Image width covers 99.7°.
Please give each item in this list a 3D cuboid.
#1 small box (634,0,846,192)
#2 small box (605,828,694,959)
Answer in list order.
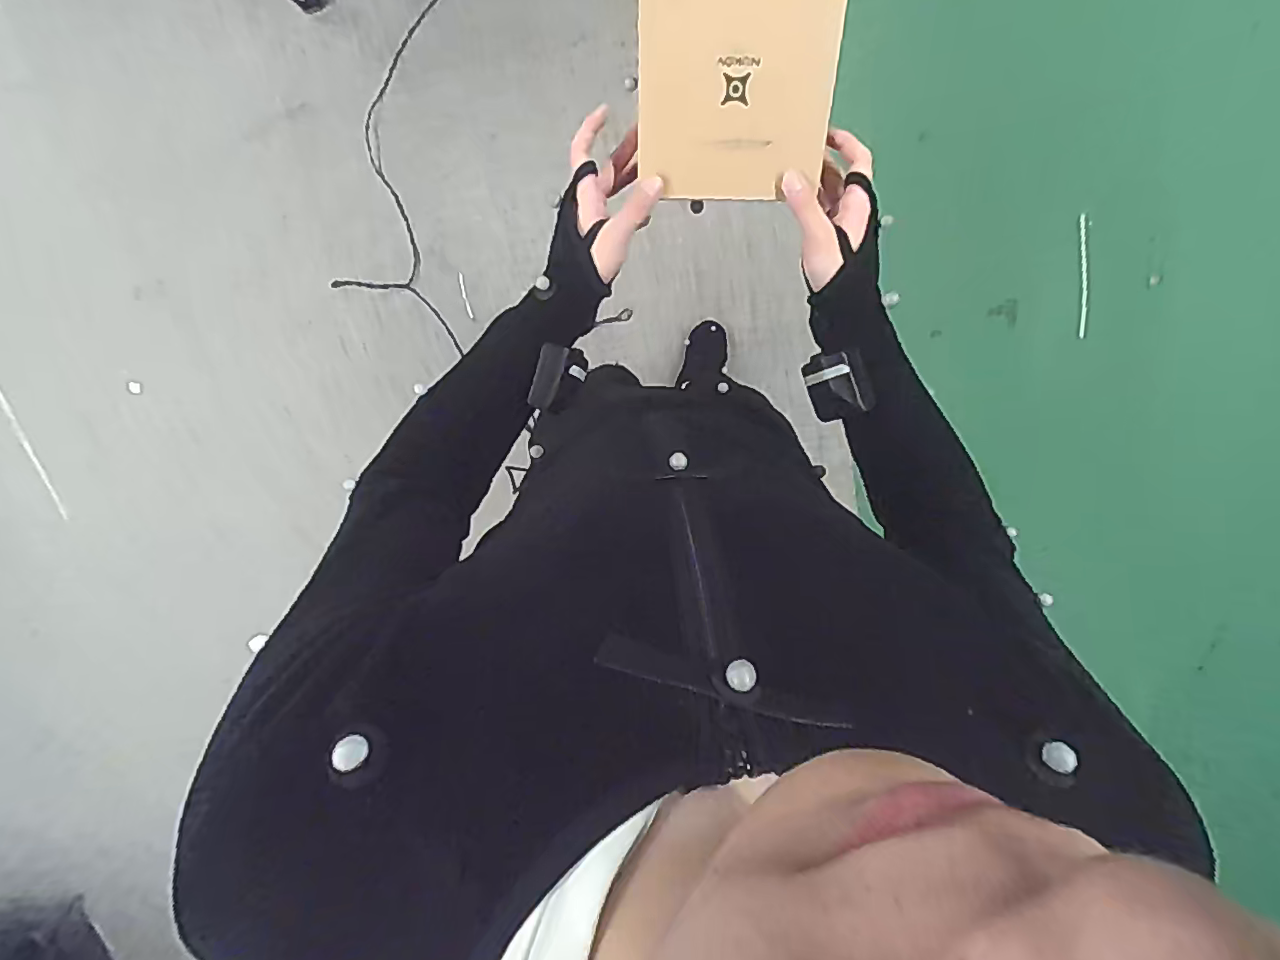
[{"bbox_3d":[0.078,-0.375,0.512,0.168,0.176,0.179,1,119,0],"label":"small box"},{"bbox_3d":[0.027,0.911,1.189,0.168,0.176,0.179,-9,104,5],"label":"small box"}]
